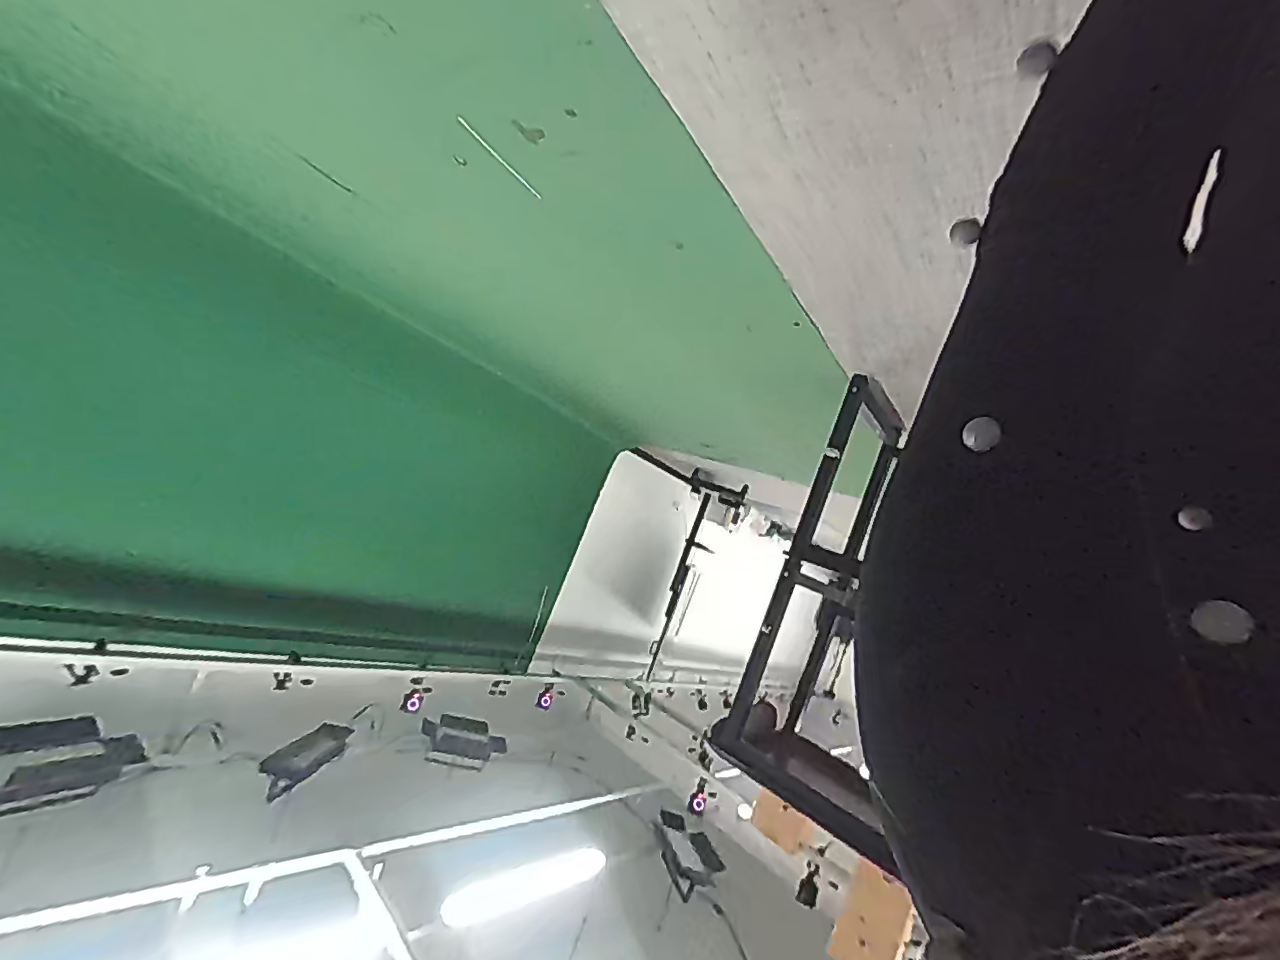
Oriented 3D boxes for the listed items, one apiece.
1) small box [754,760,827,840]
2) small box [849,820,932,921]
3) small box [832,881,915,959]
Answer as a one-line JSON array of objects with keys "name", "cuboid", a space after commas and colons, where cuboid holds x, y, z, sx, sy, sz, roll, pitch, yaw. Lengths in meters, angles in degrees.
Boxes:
[{"name": "small box", "cuboid": [0.524, 1.093, 1.866, 0.168, 0.176, 0.179, 17, 173, 40]}, {"name": "small box", "cuboid": [0.762, 1.168, 1.637, 0.168, 0.176, 0.179, 17, 173, 41]}, {"name": "small box", "cuboid": [0.709, 1.323, 1.633, 0.168, 0.176, 0.179, 18, 174, 41]}]
